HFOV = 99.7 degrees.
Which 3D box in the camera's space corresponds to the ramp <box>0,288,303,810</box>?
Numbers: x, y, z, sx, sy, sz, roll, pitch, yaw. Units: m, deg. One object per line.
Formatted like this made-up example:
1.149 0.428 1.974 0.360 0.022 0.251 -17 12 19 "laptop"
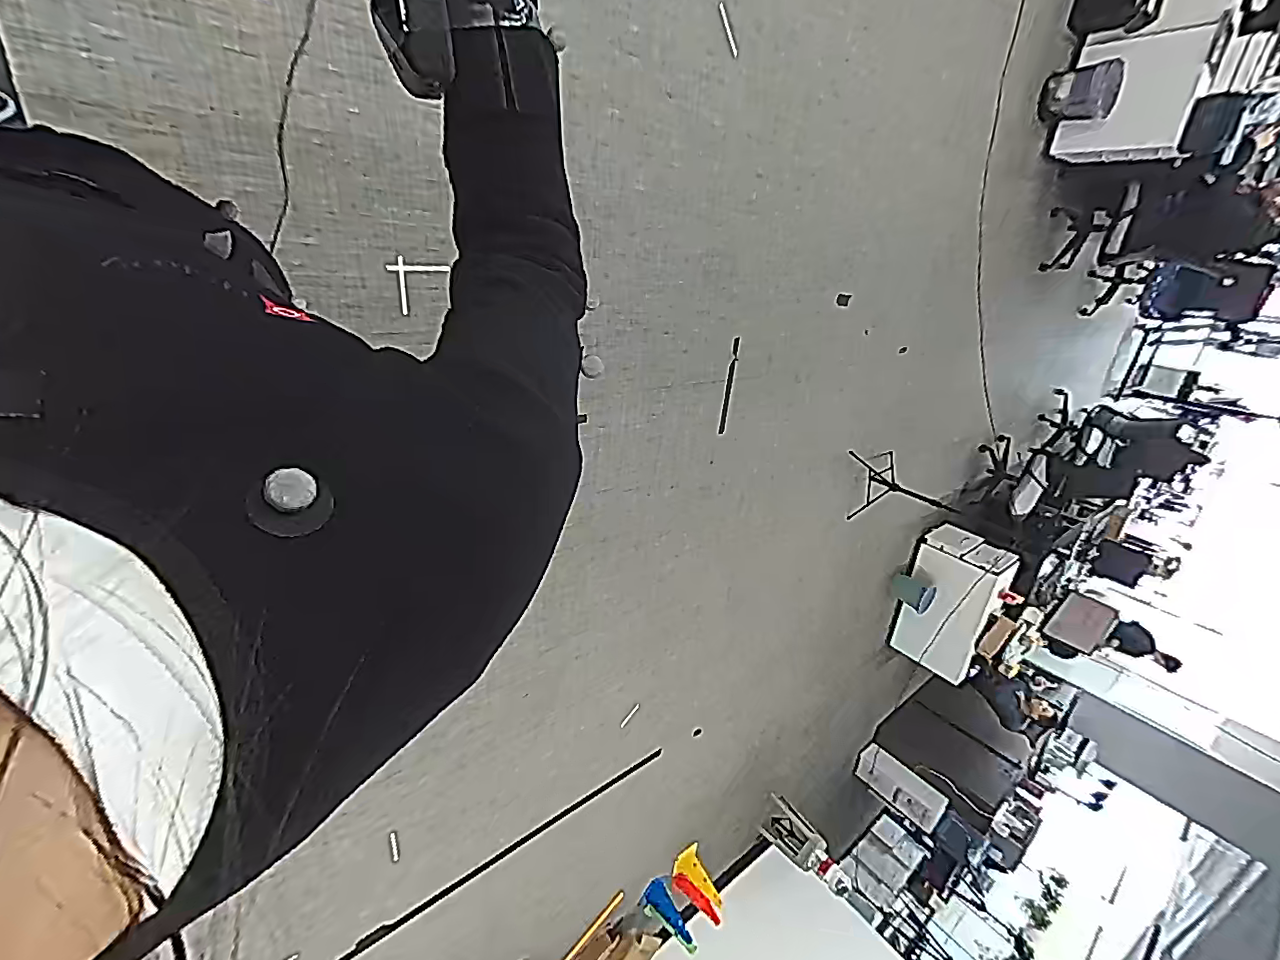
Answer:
-1.047 0.138 1.105 0.509 0.206 0.991 -12 118 -36 "ramp"
